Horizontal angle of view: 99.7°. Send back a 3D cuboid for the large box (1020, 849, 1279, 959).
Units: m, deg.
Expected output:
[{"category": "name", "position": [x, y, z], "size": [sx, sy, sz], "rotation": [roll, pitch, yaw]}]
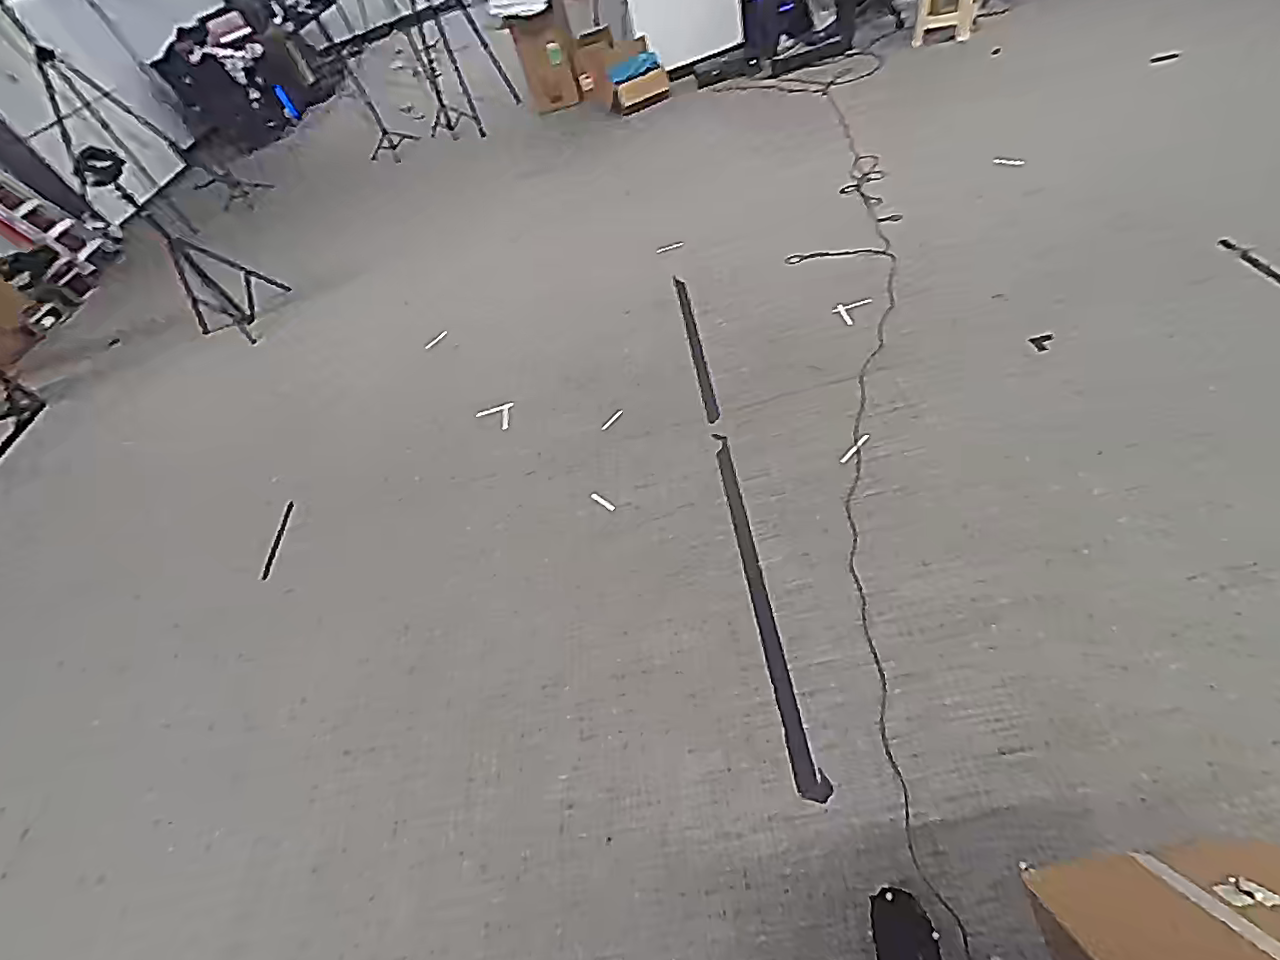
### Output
[{"category": "large box", "position": [0.687, 0.639, 0.536], "size": [0.320, 0.408, 0.320], "rotation": [-15, 72, 10]}]
